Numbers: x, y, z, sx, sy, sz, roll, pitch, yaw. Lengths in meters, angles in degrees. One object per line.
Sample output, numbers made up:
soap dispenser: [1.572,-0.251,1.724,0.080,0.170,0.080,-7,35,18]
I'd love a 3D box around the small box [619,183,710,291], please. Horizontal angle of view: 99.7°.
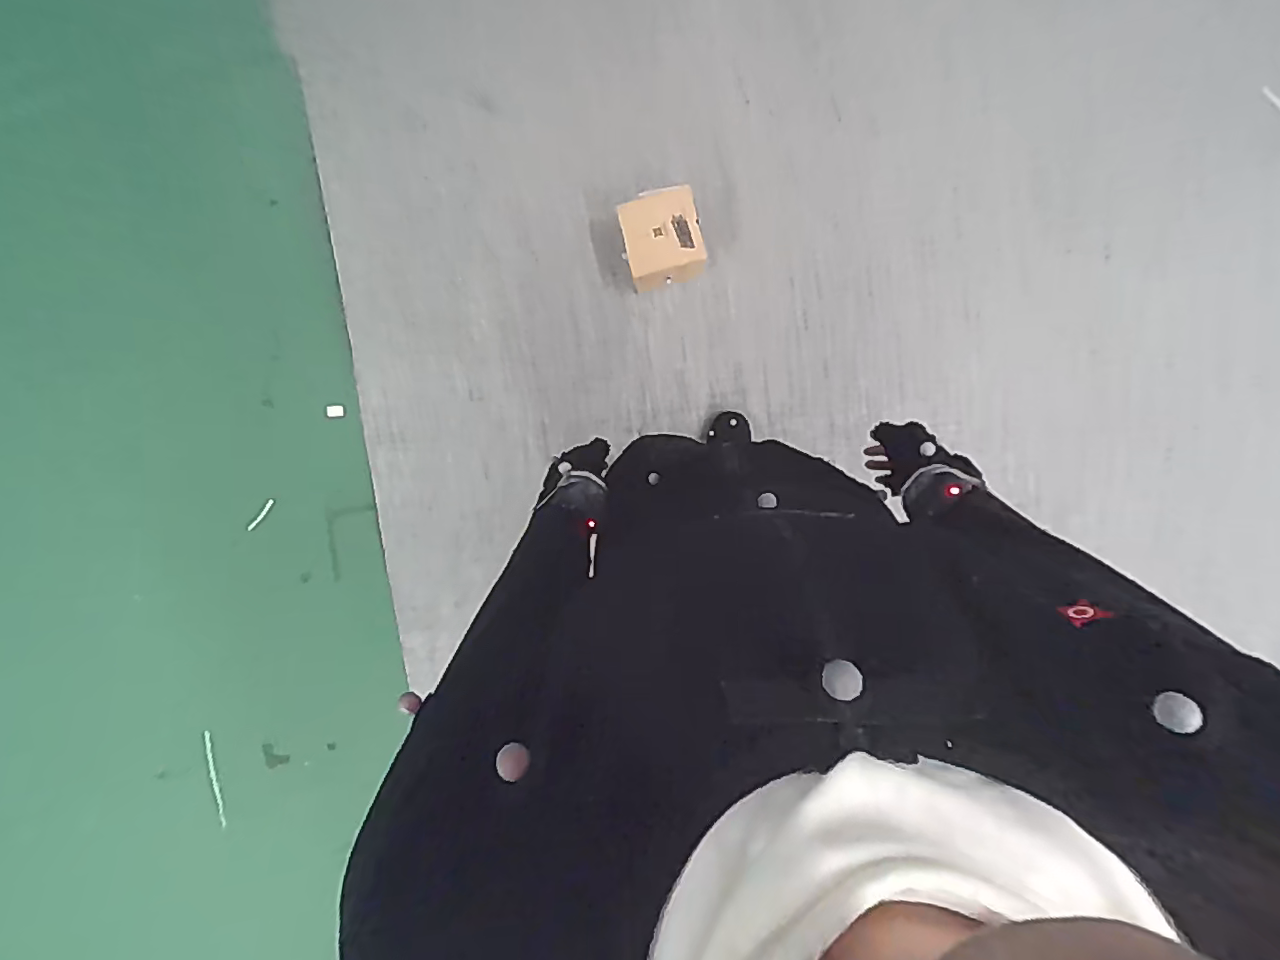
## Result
small box: [0.059,-0.573,1.298,0.179,0.176,0.168,-17,95,5]
